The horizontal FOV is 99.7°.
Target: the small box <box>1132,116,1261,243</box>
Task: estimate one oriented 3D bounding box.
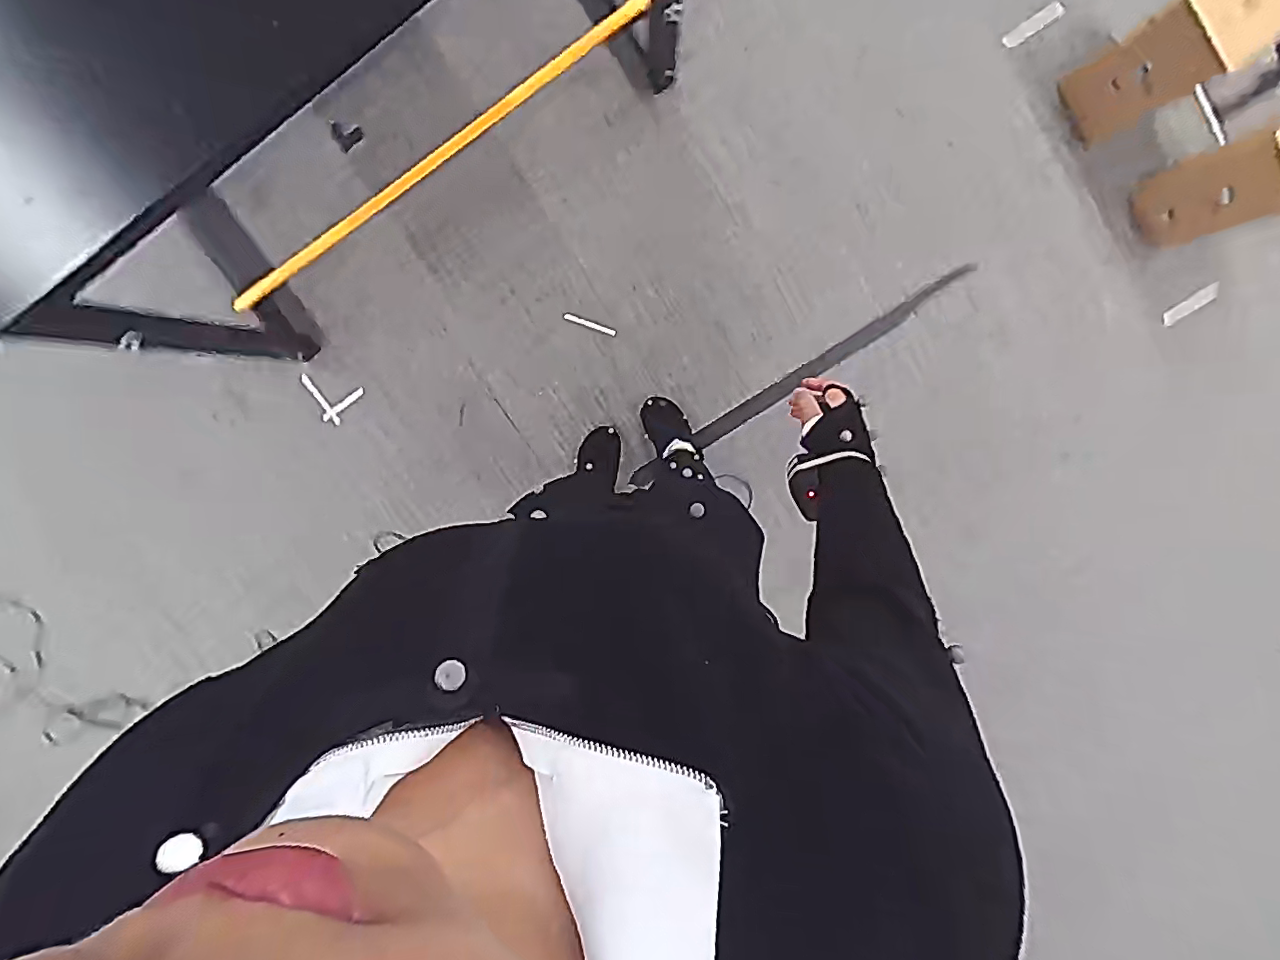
[{"bbox_3d":[1.321,-0.691,1.269,0.179,0.176,0.168,-34,98,7],"label":"small box"}]

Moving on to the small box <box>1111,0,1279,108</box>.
[{"bbox_3d":[1.109,-0.897,1.069,0.179,0.176,0.168,-38,96,8],"label":"small box"}]

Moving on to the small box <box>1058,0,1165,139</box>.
[{"bbox_3d":[1.111,-0.930,1.228,0.168,0.176,0.179,-36,98,7],"label":"small box"}]

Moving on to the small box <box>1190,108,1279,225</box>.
[{"bbox_3d":[1.311,-0.661,1.106,0.179,0.176,0.168,-32,98,6],"label":"small box"}]
